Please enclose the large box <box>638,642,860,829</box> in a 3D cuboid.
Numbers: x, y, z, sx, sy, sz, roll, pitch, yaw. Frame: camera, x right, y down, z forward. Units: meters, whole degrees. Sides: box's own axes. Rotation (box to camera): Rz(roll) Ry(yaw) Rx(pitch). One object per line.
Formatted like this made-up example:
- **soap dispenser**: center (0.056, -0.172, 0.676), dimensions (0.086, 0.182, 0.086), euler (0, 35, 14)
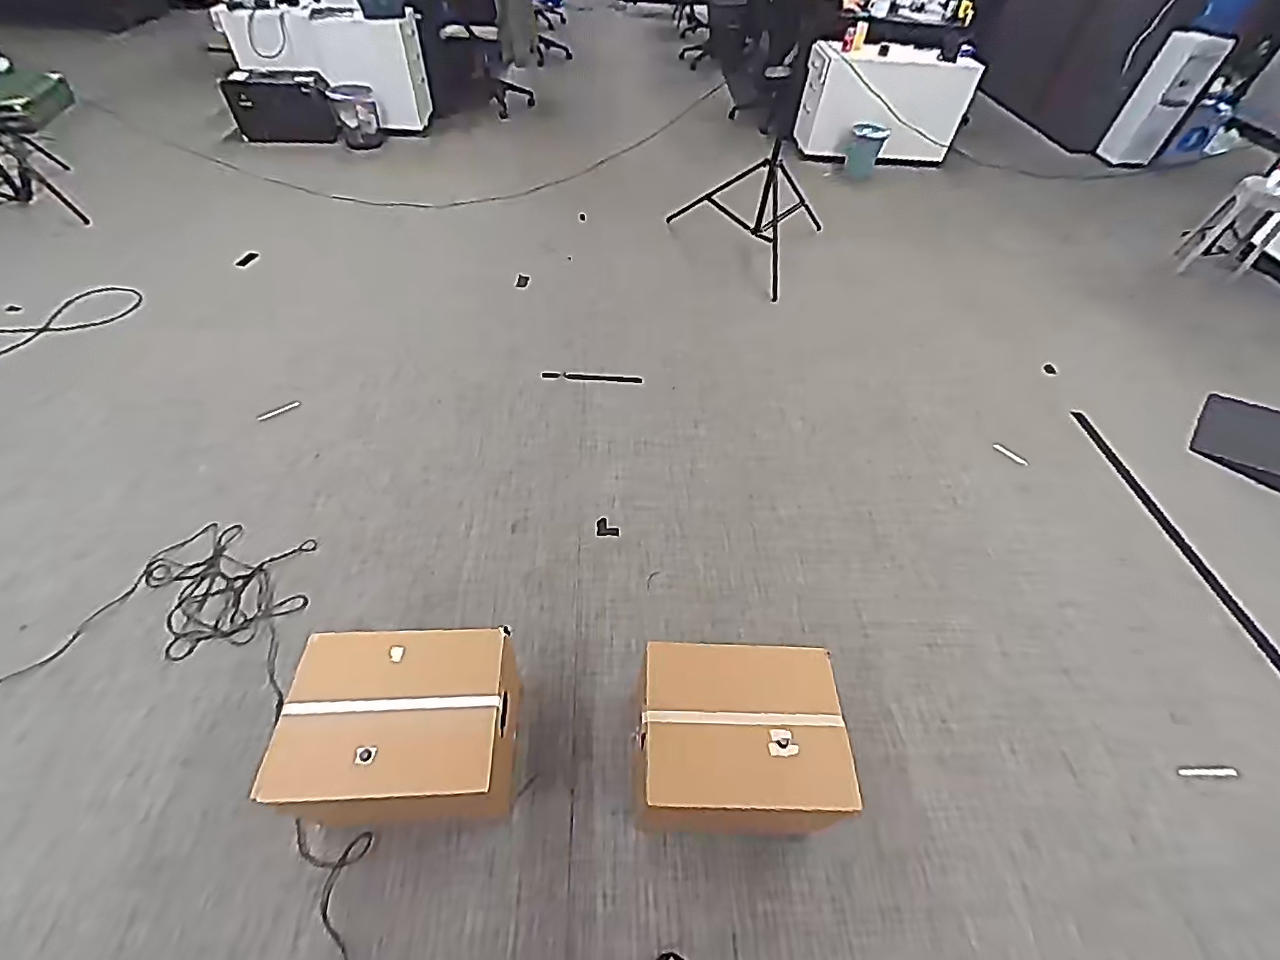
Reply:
- **large box**: center (0.205, 0.577, 1.209), dimensions (0.408, 0.320, 0.320), euler (3, 50, -3)
